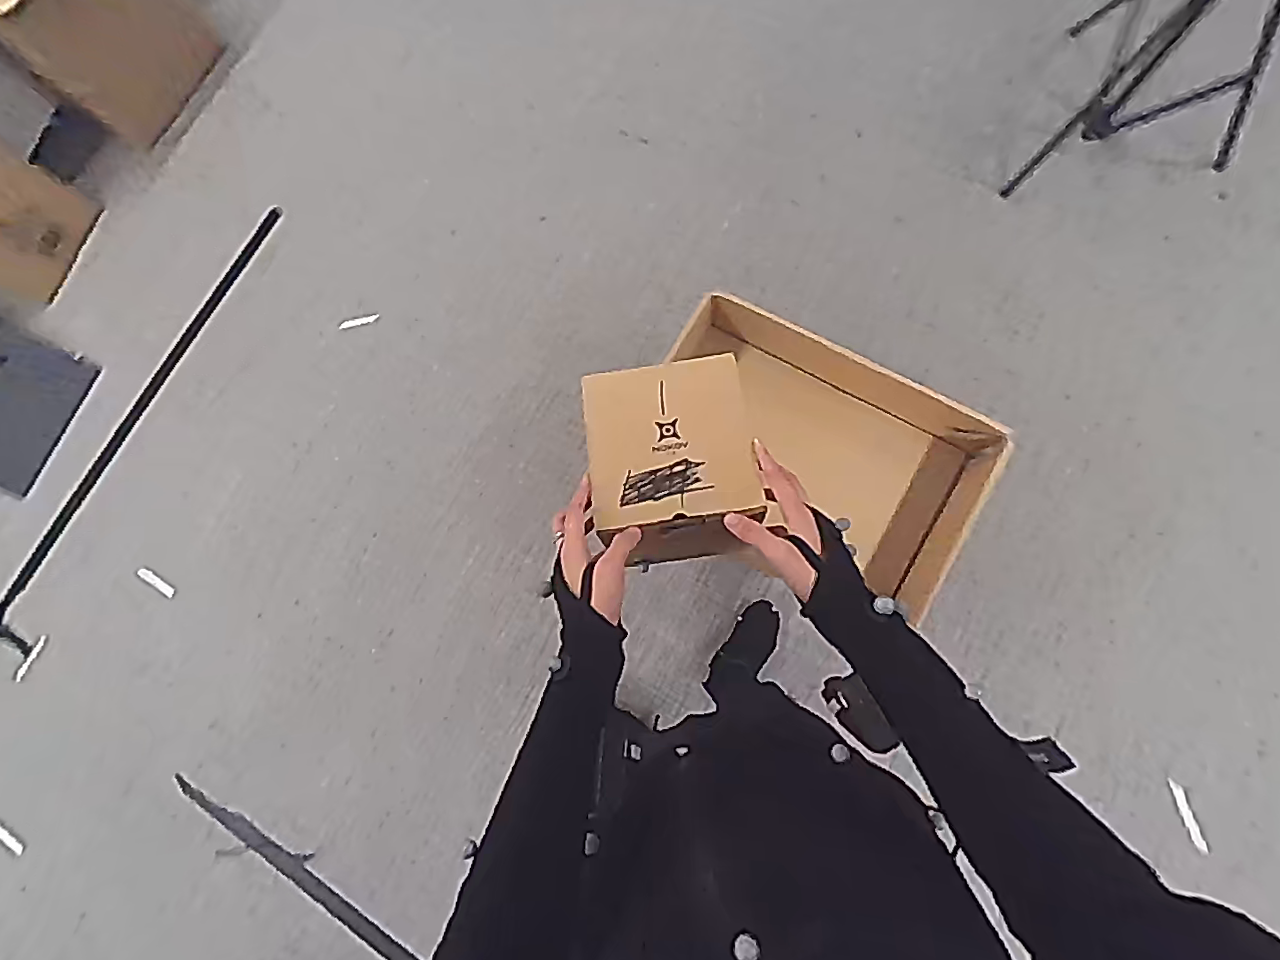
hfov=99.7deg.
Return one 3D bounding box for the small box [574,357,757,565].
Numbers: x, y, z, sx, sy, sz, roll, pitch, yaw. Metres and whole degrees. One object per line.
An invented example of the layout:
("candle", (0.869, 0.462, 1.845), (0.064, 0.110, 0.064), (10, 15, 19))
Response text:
("small box", (0.029, -0.008, 0.609), (0.168, 0.176, 0.179), (-9, 68, 2))
